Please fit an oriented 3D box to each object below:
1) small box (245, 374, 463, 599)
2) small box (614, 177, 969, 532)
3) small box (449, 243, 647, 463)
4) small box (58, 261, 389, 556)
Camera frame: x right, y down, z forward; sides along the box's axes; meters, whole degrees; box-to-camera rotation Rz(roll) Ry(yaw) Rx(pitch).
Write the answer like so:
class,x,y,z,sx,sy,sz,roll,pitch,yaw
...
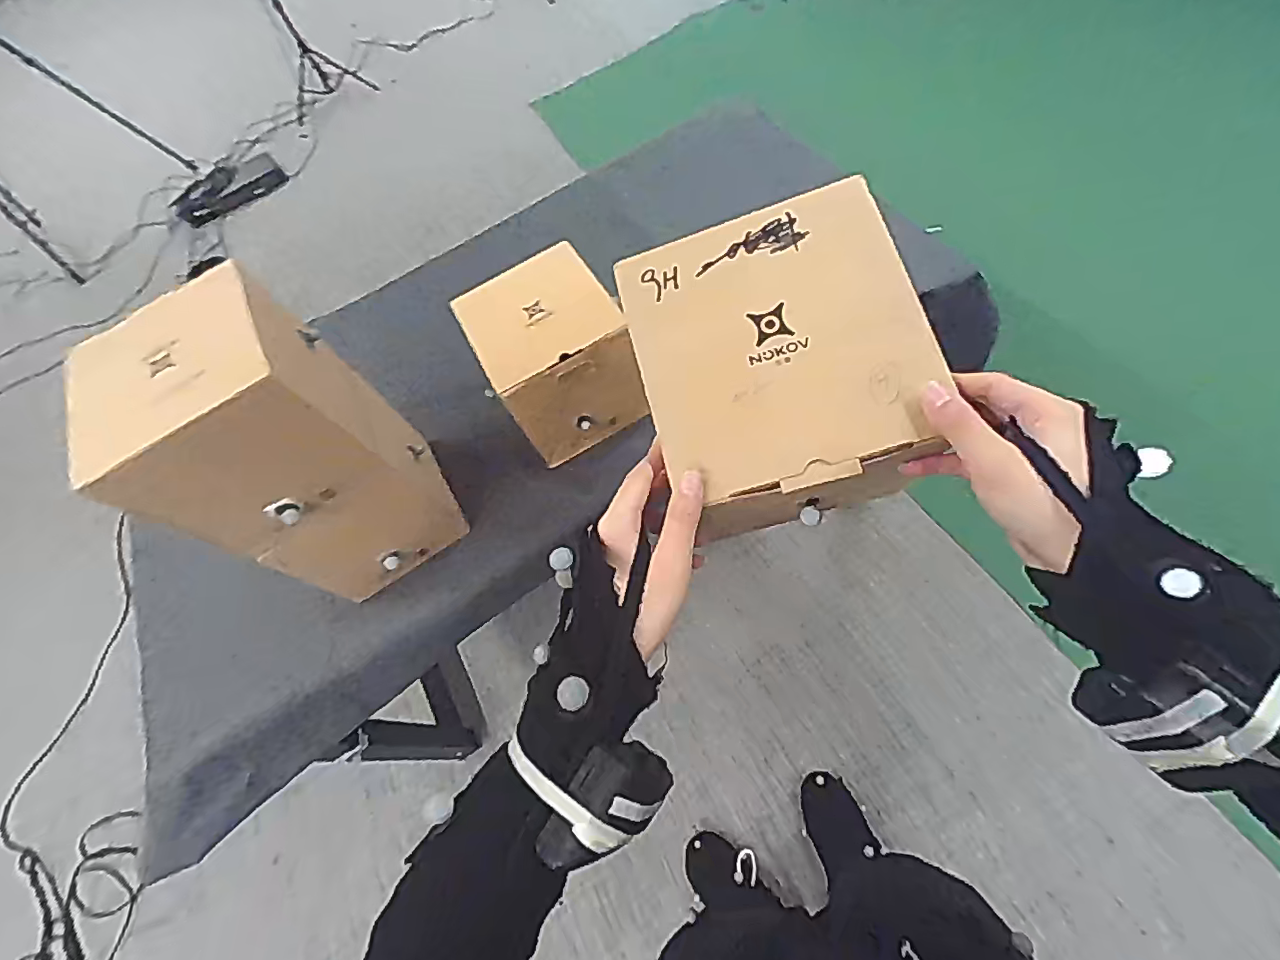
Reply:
class,x,y,z,sx,sy,sz,roll,pitch,yaw
small box,-0.345,0.015,0.648,0.168,0.176,0.179,-34,62,-6
small box,0.096,-0.065,0.393,0.168,0.176,0.179,-16,75,8
small box,-0.109,-0.154,0.689,0.168,0.176,0.179,-31,62,-5
small box,-0.375,-0.058,0.506,0.168,0.176,0.179,-35,62,-6
